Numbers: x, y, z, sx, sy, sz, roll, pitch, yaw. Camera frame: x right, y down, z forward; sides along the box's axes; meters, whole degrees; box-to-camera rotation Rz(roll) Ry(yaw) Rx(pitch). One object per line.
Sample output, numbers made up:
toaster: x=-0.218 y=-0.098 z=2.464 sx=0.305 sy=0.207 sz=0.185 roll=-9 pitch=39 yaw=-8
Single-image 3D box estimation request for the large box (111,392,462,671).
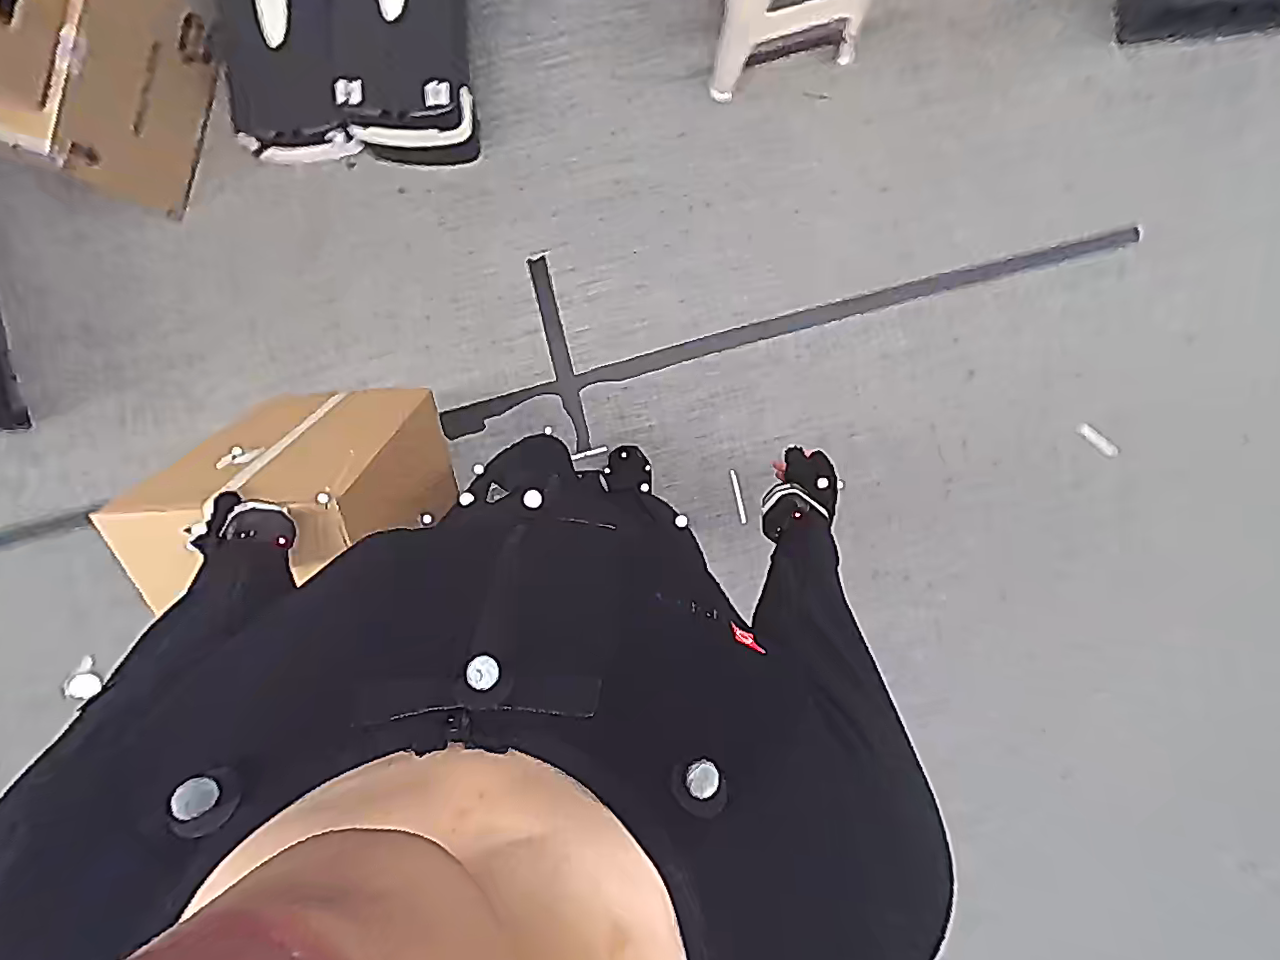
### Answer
large box: x=-0.537 y=0.066 z=0.944 sx=0.320 sy=0.408 sz=0.320 roll=-3 pitch=121 yaw=1
